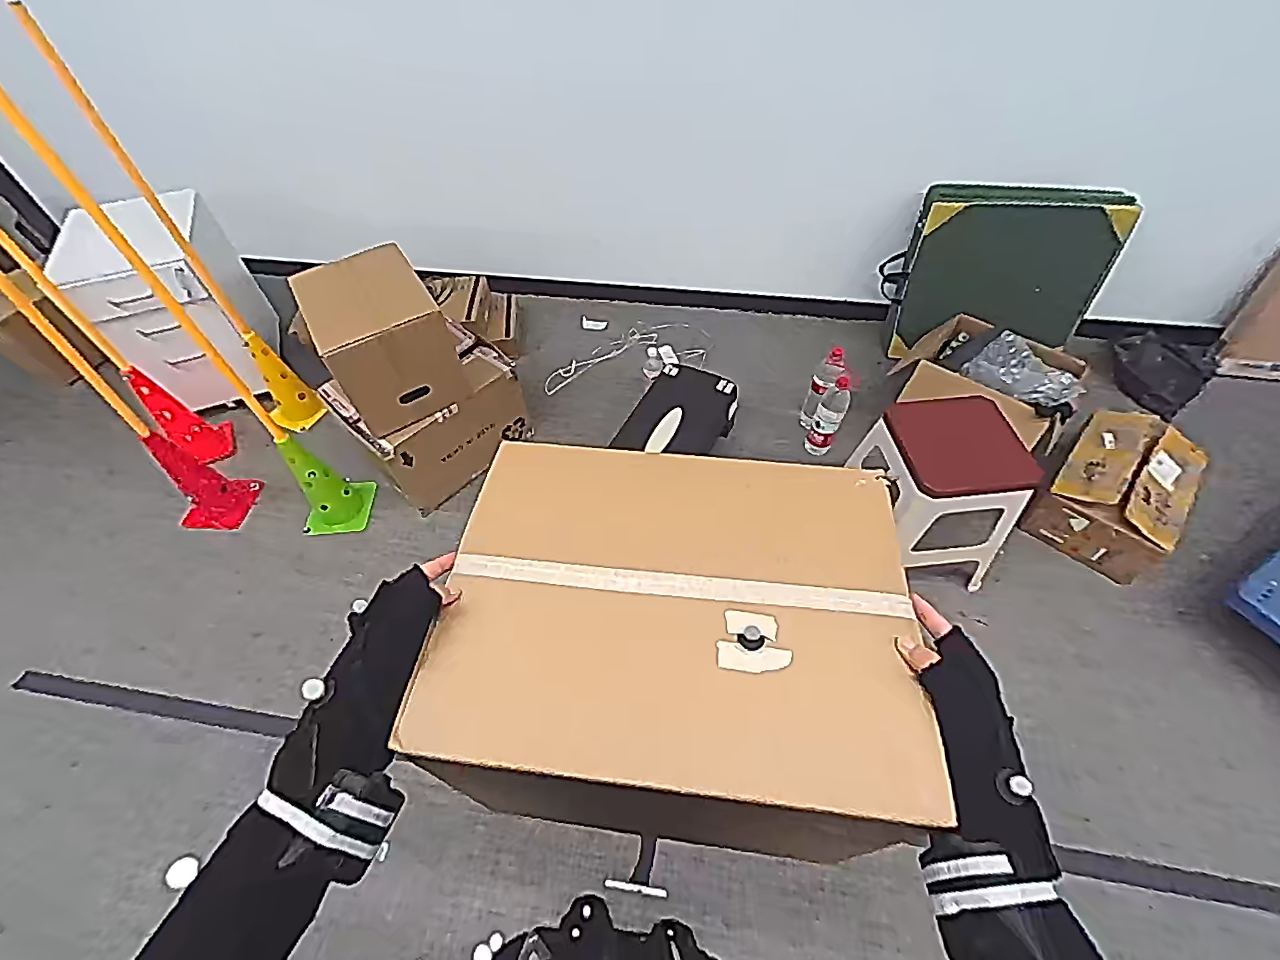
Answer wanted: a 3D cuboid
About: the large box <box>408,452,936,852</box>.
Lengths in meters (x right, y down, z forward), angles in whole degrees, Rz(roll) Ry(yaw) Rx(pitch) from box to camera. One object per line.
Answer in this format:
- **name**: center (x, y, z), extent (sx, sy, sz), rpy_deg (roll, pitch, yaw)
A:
- **large box**: center (0.033, 0.193, 0.606), extent (0.408, 0.320, 0.320), rpy_deg (5, 51, 5)
